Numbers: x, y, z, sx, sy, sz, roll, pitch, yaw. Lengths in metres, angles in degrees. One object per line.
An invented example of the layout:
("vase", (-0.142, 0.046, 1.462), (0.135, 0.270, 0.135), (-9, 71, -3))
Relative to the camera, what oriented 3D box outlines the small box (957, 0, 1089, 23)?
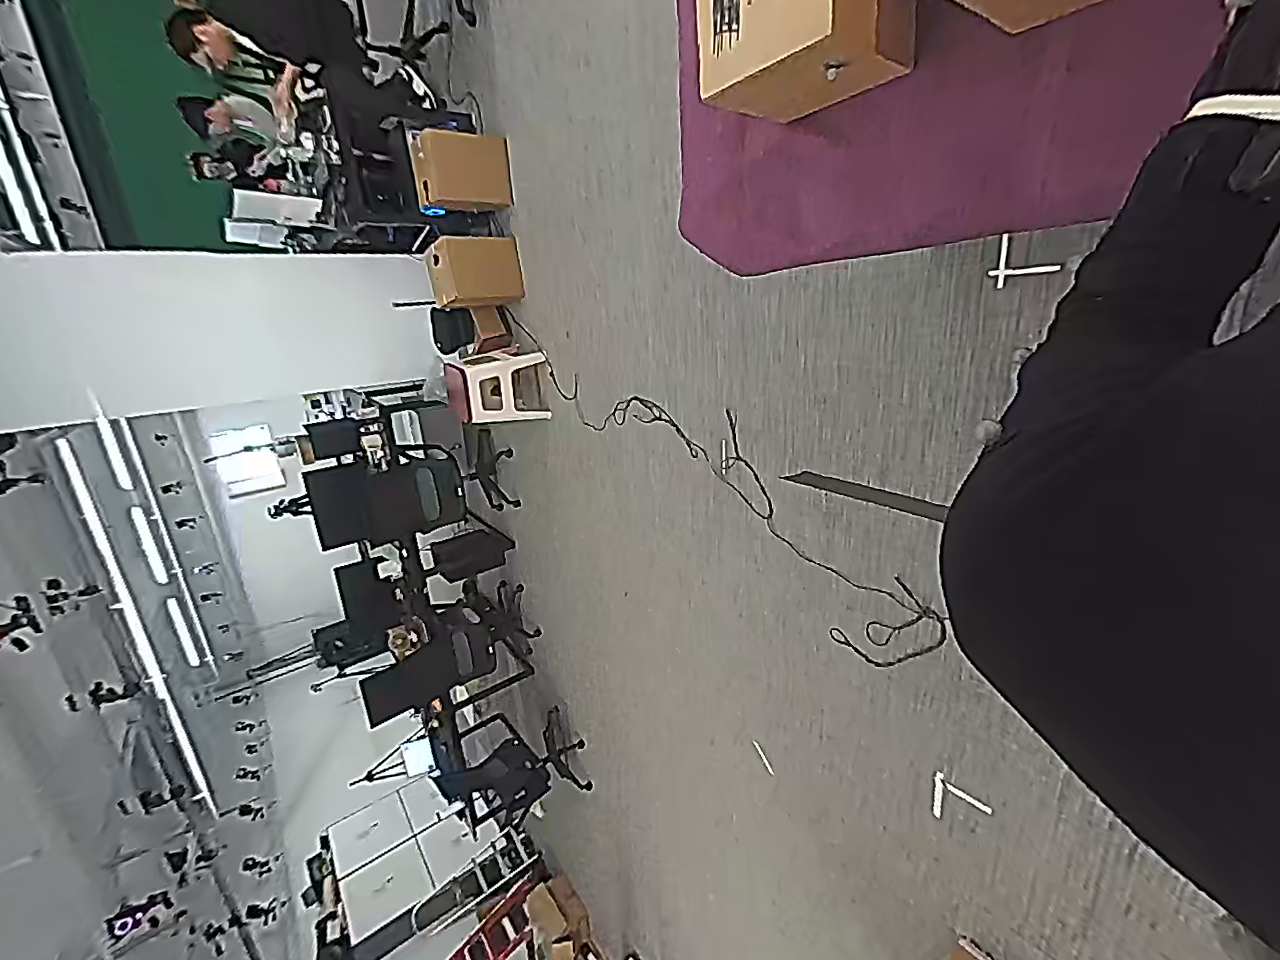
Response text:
("small box", (0.347, -0.479, 0.394), (0.179, 0.176, 0.168), (20, 120, 50))
